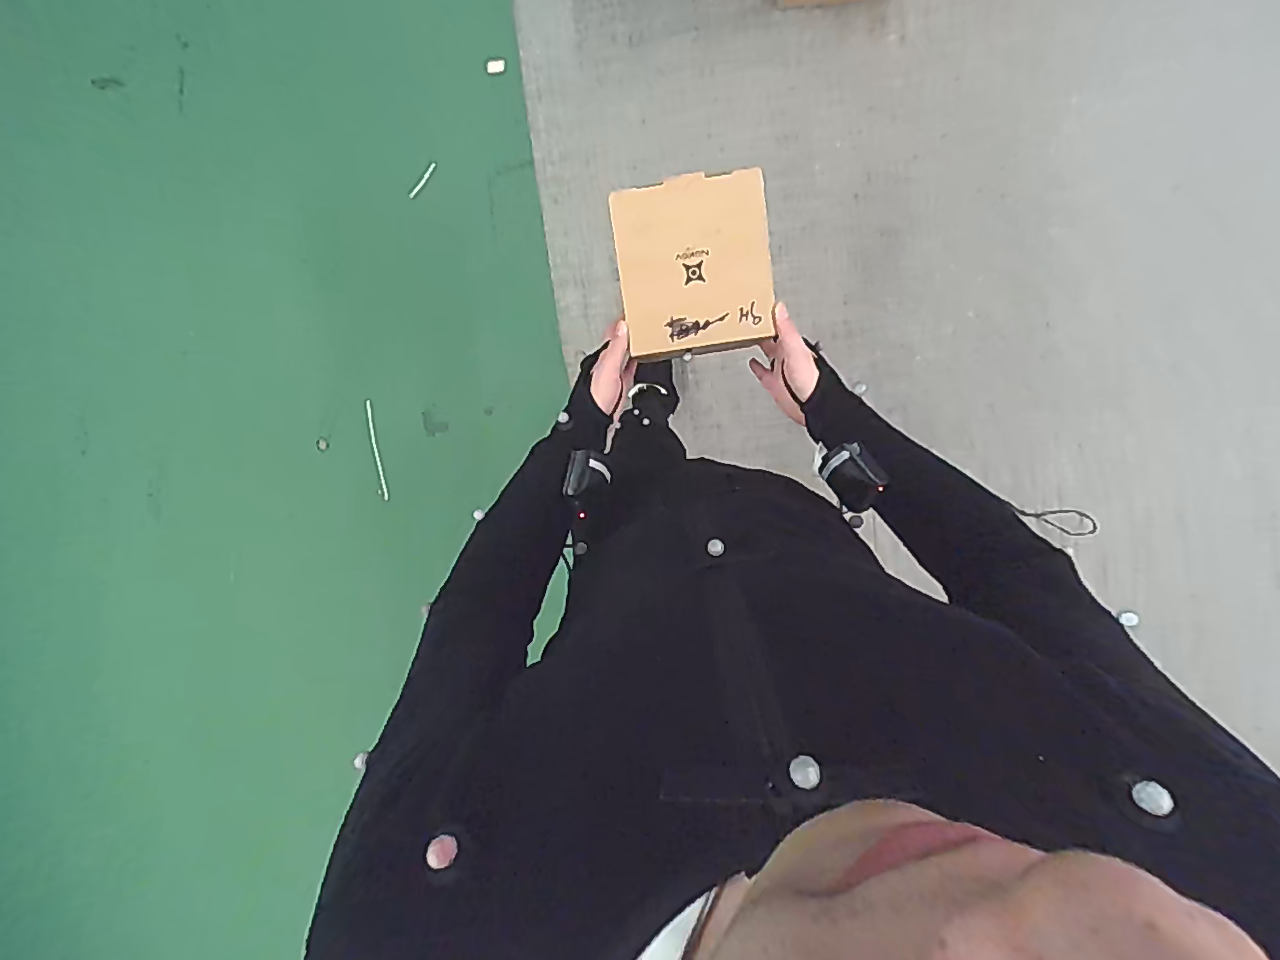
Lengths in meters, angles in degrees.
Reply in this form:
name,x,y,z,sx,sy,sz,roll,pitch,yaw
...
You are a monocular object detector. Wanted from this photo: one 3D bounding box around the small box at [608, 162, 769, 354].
name,x,y,z,sx,sy,sz,roll,pitch,yaw
small box,0.059,-0.258,0.669,0.168,0.176,0.179,-6,100,6
